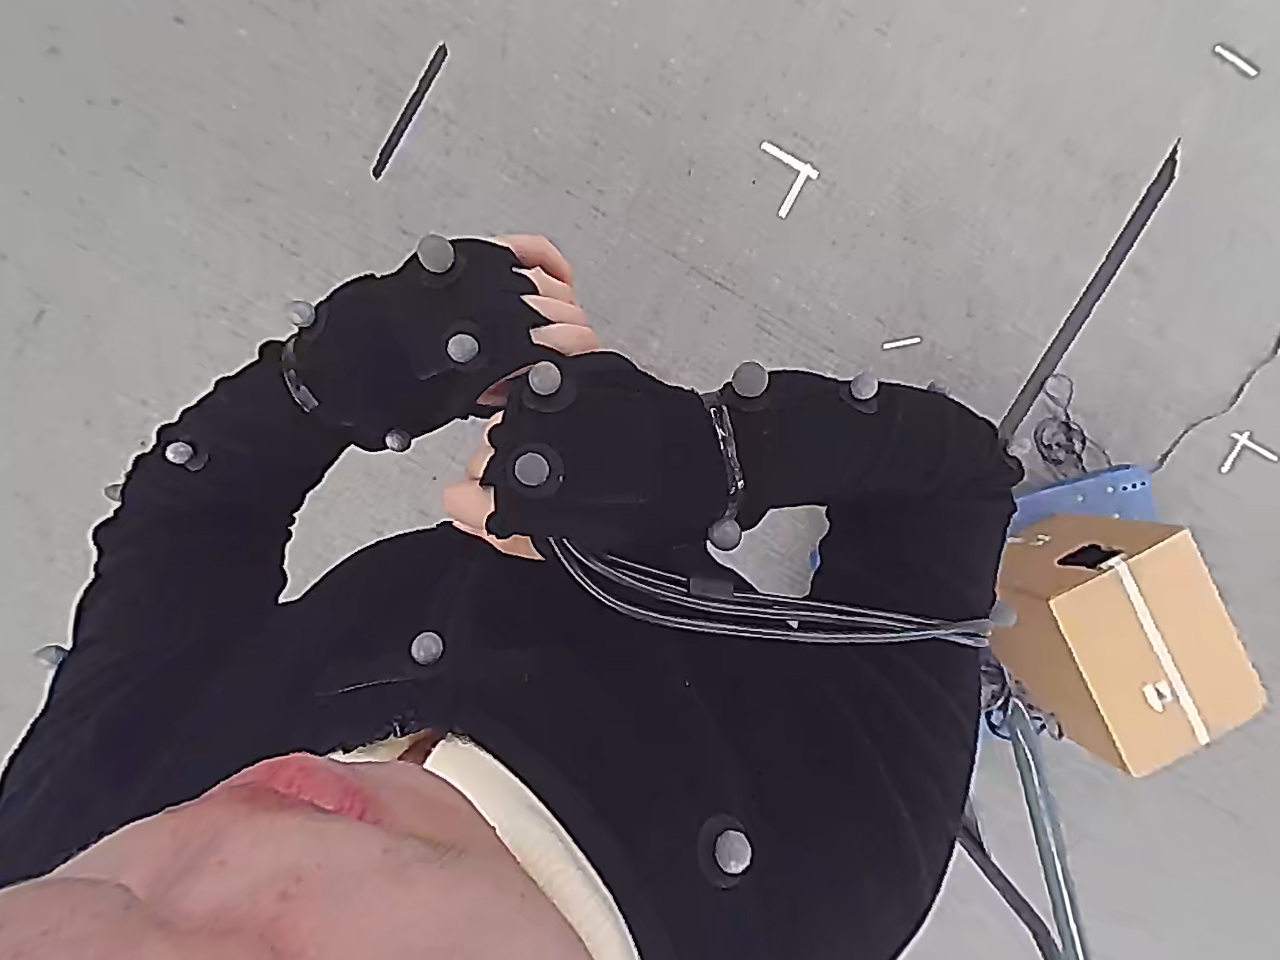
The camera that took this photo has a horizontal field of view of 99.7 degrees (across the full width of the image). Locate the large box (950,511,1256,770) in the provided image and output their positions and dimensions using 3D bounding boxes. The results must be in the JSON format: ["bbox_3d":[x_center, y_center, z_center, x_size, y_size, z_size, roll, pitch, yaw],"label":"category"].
[{"bbox_3d":[0.991,0.324,1.205,0.320,0.320,0.408,-27,94,-1],"label":"large box"}]
